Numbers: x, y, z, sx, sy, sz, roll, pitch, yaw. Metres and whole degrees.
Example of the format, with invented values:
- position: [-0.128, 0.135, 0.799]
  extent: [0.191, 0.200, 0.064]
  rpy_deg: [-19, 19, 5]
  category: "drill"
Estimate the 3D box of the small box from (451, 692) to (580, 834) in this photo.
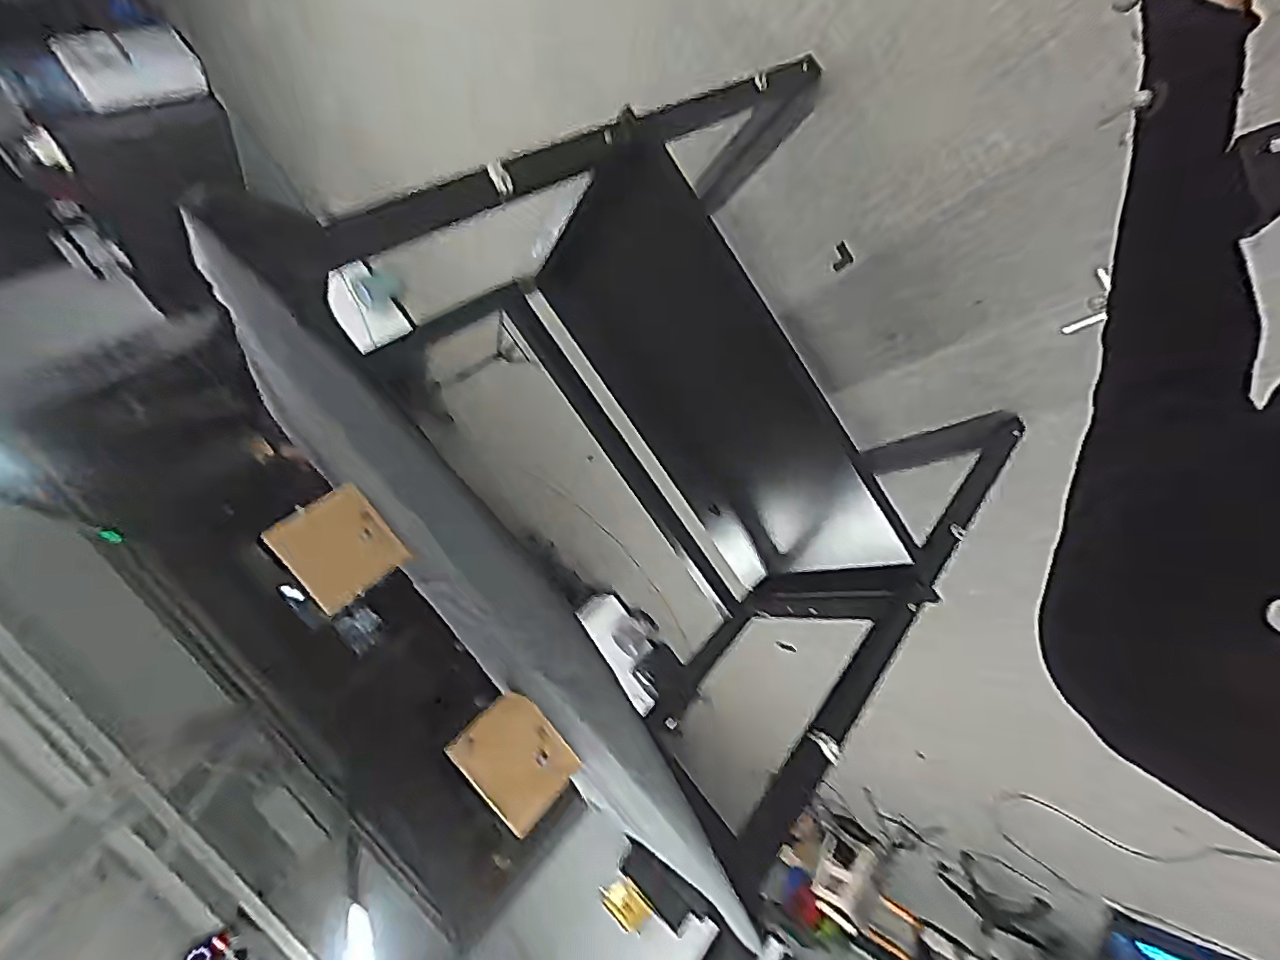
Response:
- position: [-0.247, 0.551, 1.082]
  extent: [0.168, 0.176, 0.179]
  rpy_deg: [53, 149, -6]
  category: "small box"
